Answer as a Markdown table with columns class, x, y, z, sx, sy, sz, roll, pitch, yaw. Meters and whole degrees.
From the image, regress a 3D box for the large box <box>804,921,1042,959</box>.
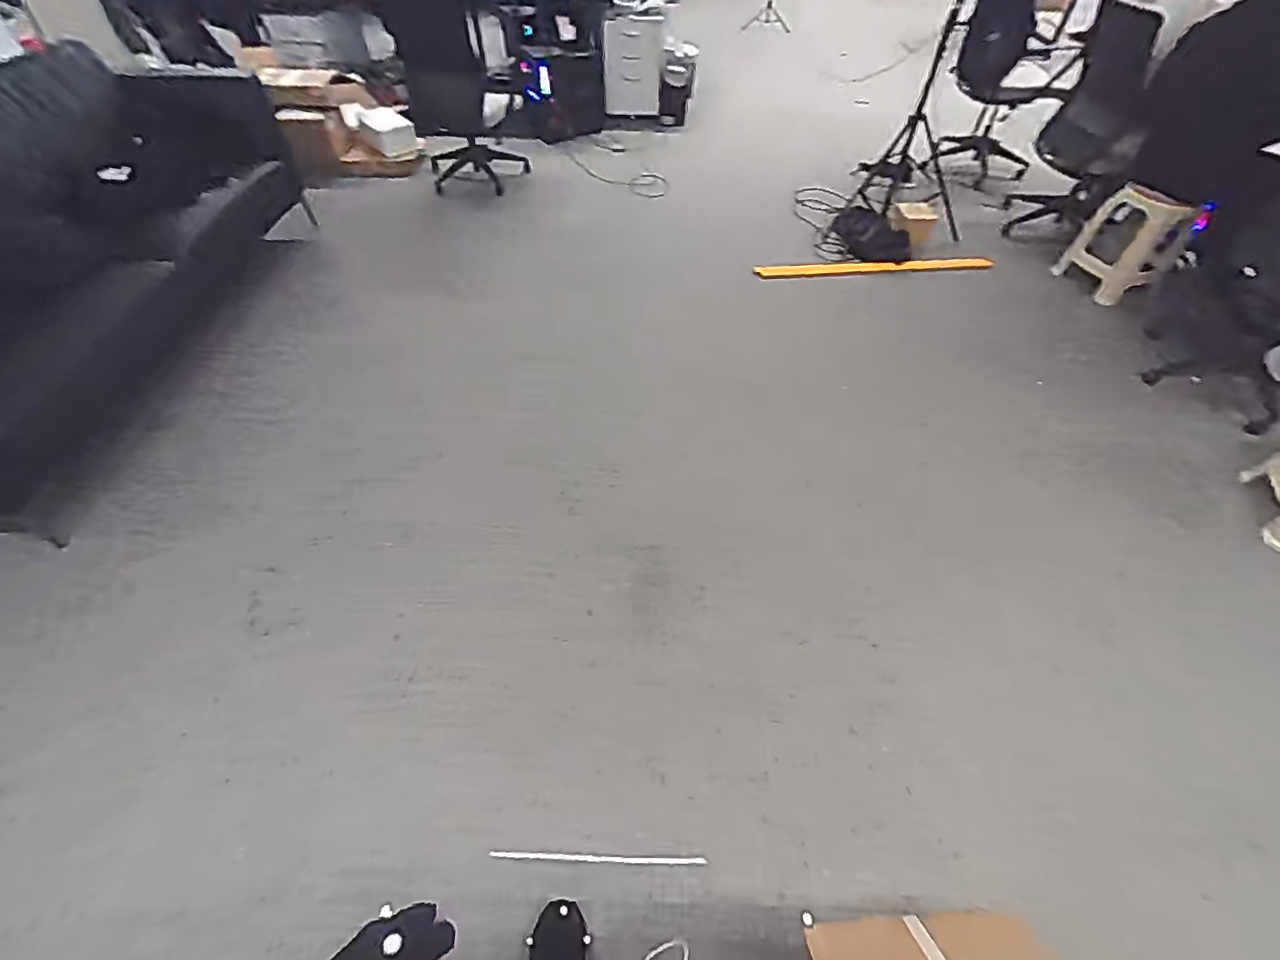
| class | x | y | z | sx | sy | sz | roll | pitch | yaw |
| --- | --- | --- | --- | --- | --- | --- | --- | --- | --- |
| large box | 0.410 | 0.804 | 0.588 | 0.320 | 0.408 | 0.320 | -5 | 87 | -1 |
